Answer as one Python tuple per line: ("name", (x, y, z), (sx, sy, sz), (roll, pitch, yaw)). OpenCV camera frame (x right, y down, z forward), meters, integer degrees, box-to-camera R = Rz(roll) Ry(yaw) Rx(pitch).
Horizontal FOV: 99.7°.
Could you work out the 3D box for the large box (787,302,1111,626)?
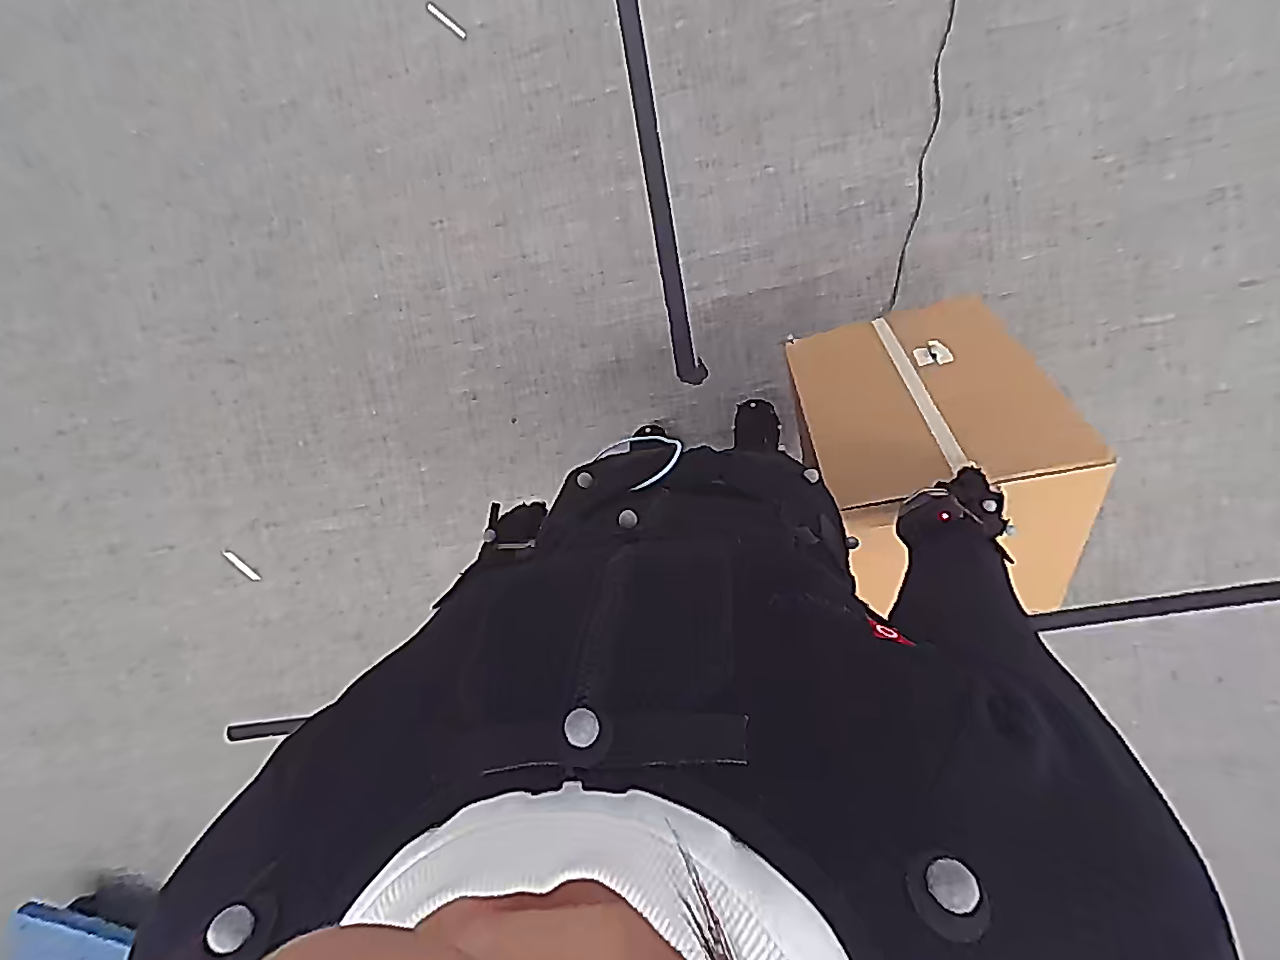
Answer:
("large box", (0.453, -0.028, 0.895), (0.320, 0.408, 0.320), (-11, 132, 13))
